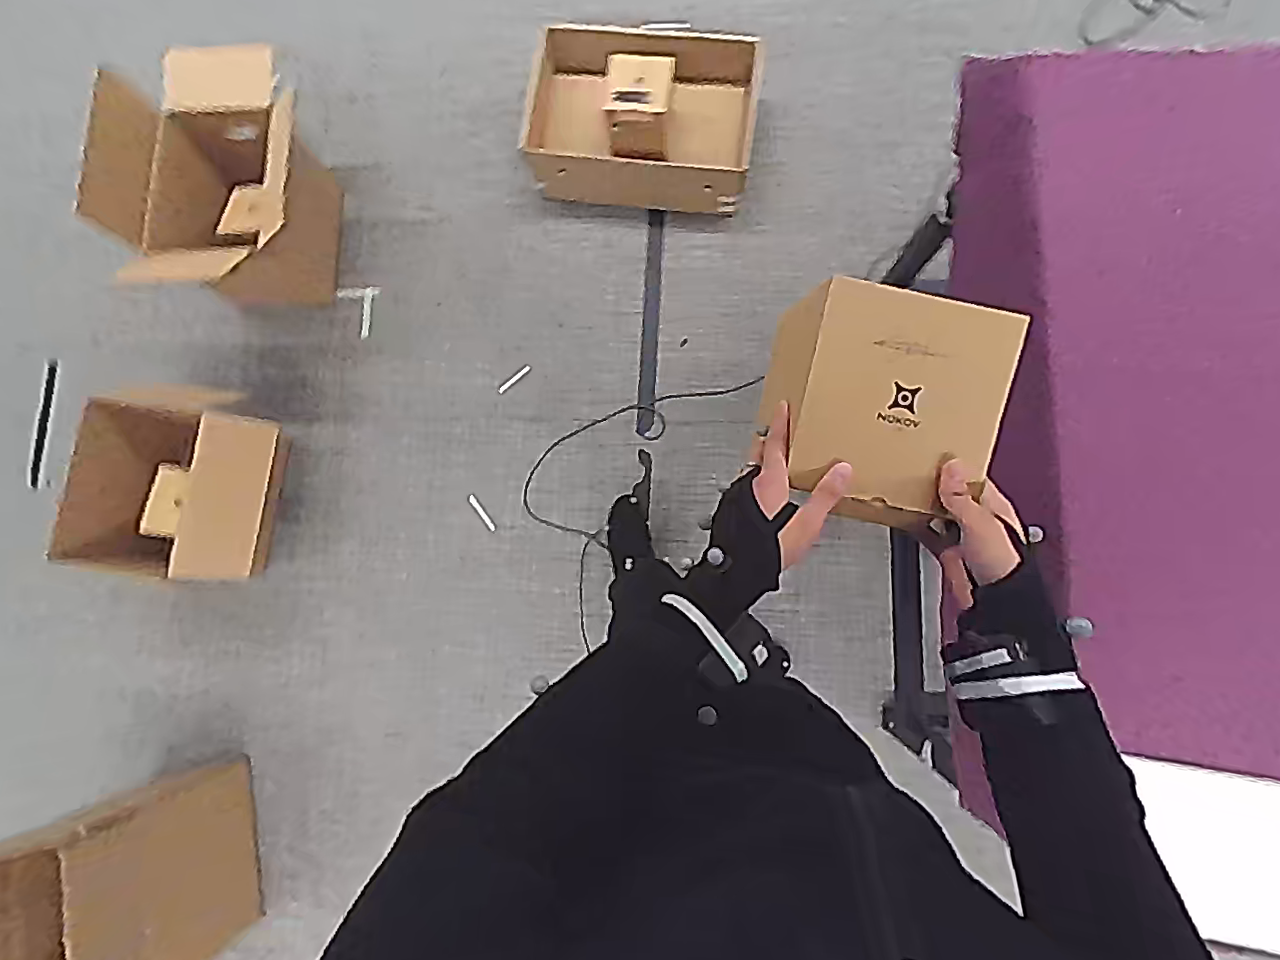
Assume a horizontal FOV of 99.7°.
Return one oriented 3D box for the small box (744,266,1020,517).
[{"bbox_3d":[0.205,-0.078,0.514,0.168,0.176,0.179,11,96,-2],"label":"small box"}]
